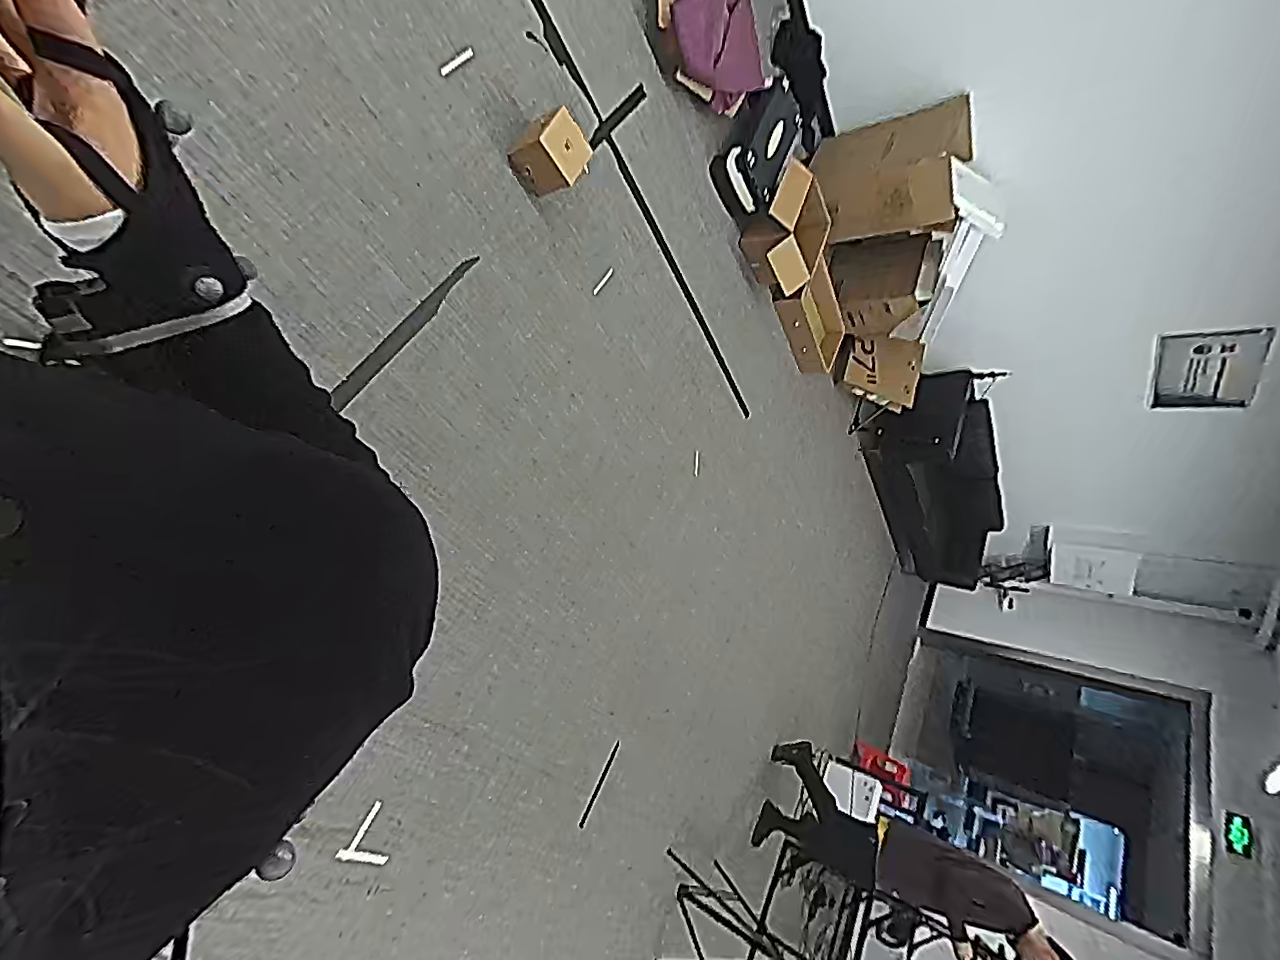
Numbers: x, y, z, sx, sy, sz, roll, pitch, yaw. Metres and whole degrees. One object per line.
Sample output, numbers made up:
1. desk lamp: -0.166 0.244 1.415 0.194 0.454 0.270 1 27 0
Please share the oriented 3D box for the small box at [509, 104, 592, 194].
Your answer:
1. small box: -0.296 -1.077 1.771 0.168 0.176 0.179 44 63 -43
